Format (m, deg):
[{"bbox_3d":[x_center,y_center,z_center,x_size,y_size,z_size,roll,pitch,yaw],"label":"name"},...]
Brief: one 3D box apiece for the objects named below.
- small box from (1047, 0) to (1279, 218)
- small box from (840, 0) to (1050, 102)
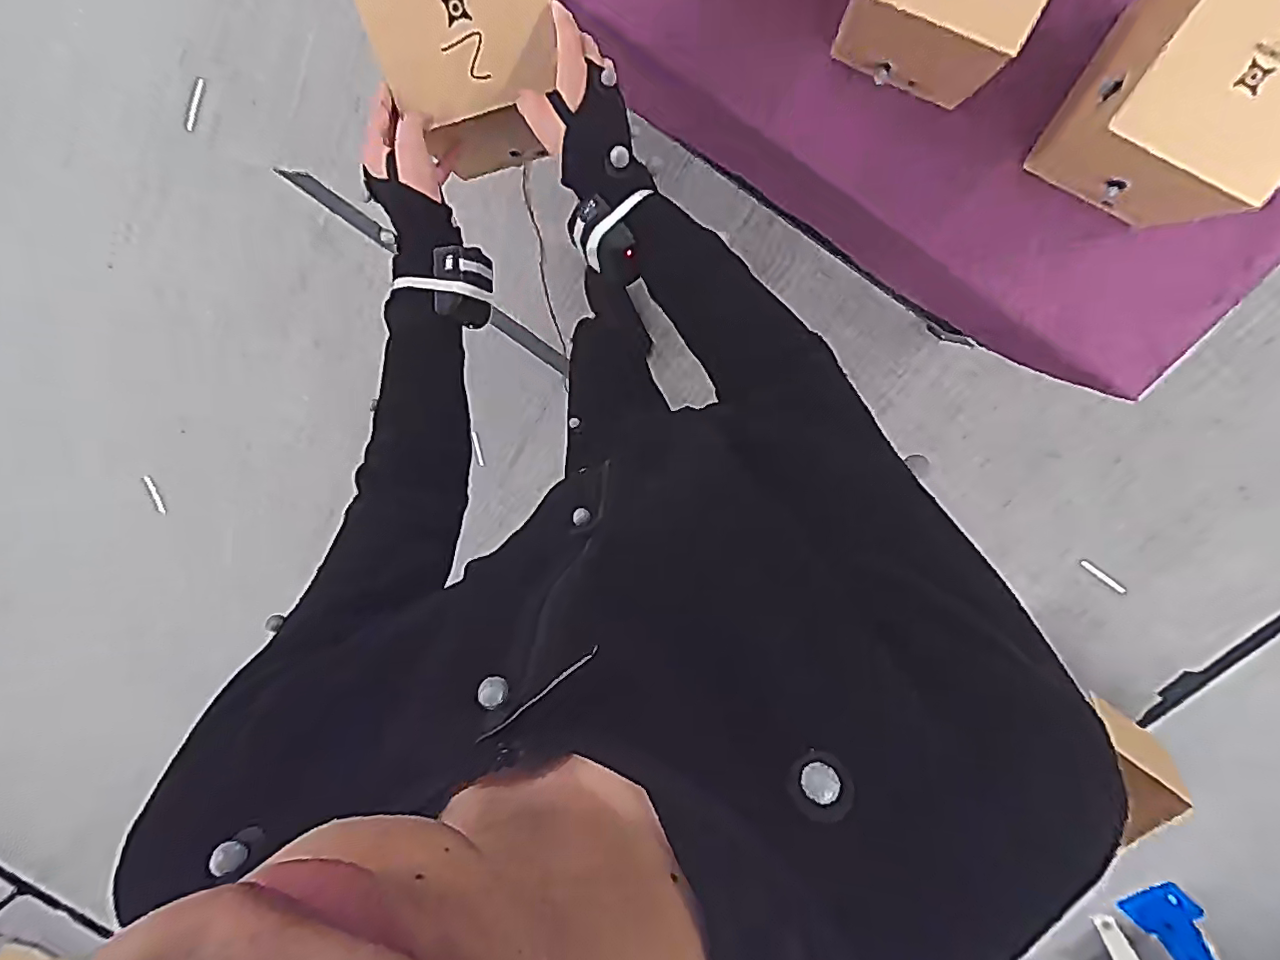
[{"bbox_3d":[0.562,-0.388,0.543,0.168,0.176,0.179,28,112,0],"label":"small box"},{"bbox_3d":[0.322,-0.526,0.539,0.168,0.176,0.179,24,111,2],"label":"small box"}]
